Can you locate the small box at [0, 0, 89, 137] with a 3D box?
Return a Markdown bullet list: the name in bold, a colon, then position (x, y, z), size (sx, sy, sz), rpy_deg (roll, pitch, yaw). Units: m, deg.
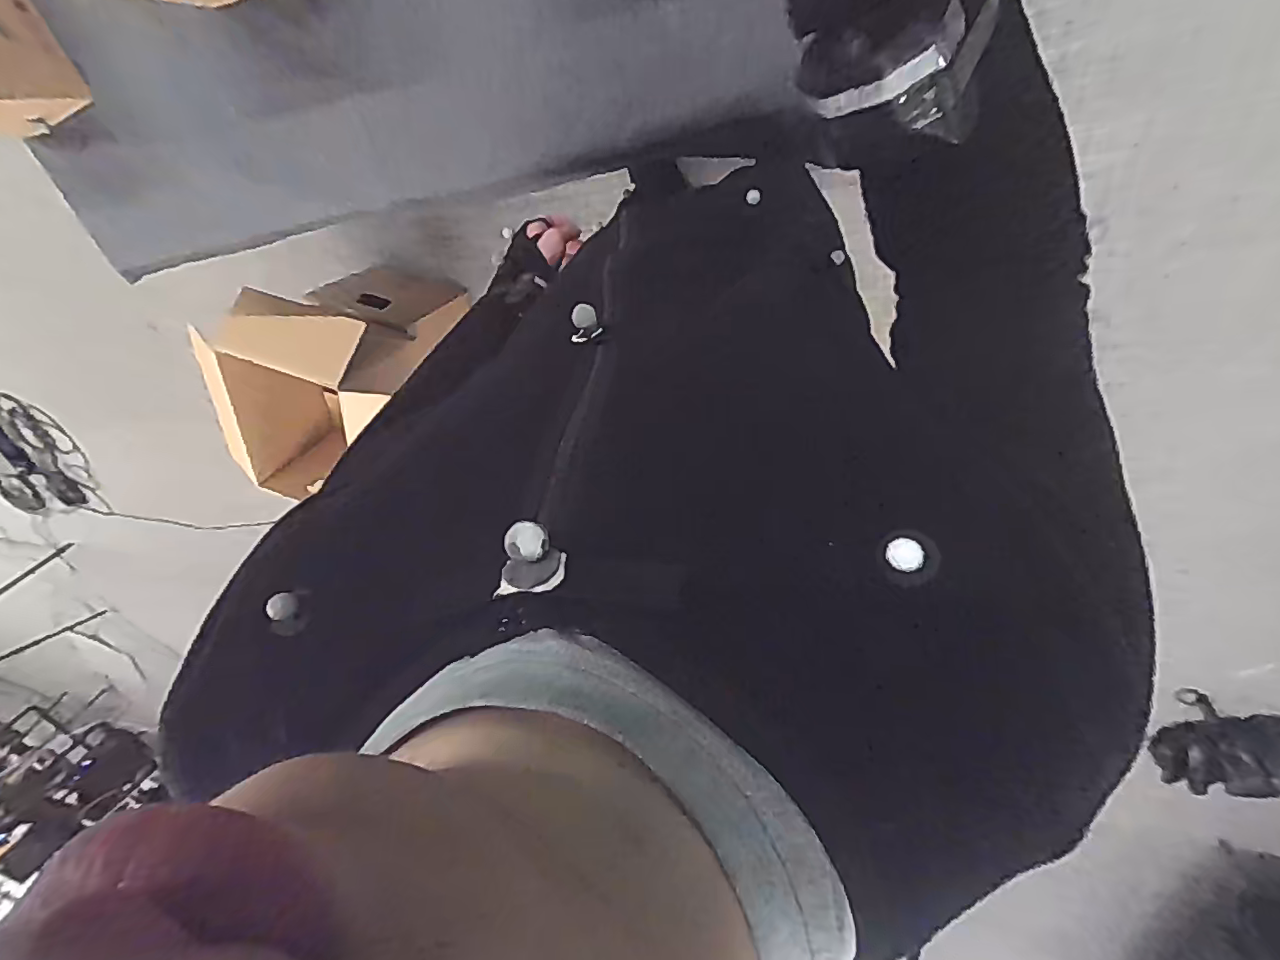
- **small box**: position (-0.897, -0.565, 0.706), size (0.179, 0.176, 0.168), rpy_deg (-6, 122, 22)
